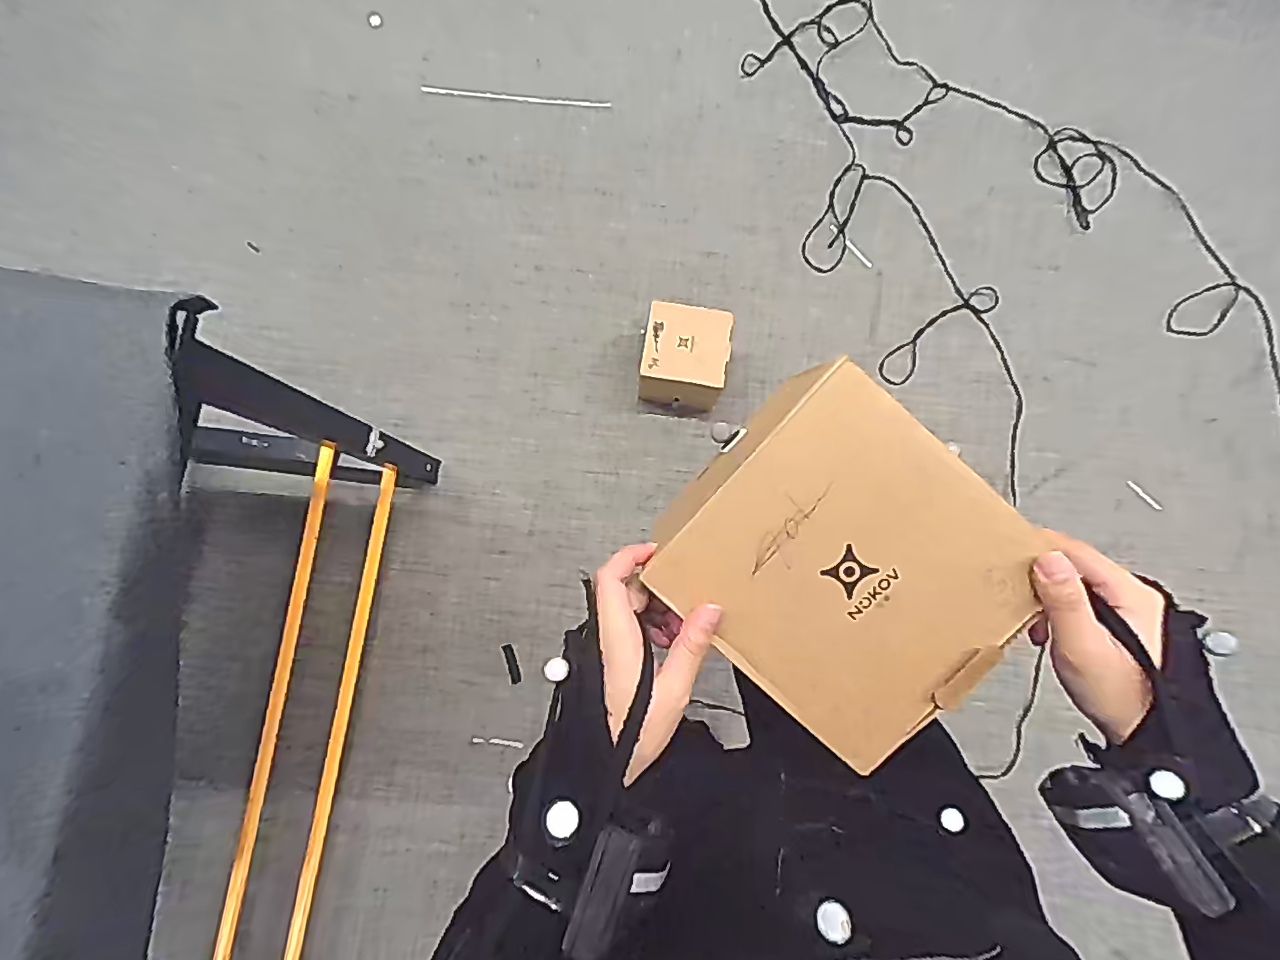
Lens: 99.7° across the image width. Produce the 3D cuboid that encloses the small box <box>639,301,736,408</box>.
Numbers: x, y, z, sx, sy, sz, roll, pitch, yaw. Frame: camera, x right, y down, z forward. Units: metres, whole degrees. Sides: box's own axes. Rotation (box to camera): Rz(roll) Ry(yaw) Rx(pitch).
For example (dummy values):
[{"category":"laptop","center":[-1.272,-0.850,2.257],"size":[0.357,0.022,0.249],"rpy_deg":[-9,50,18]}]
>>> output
[{"category":"small box","center":[0.097,-0.265,1.182],"size":[0.179,0.176,0.168],"rpy_deg":[10,82,0]}]
